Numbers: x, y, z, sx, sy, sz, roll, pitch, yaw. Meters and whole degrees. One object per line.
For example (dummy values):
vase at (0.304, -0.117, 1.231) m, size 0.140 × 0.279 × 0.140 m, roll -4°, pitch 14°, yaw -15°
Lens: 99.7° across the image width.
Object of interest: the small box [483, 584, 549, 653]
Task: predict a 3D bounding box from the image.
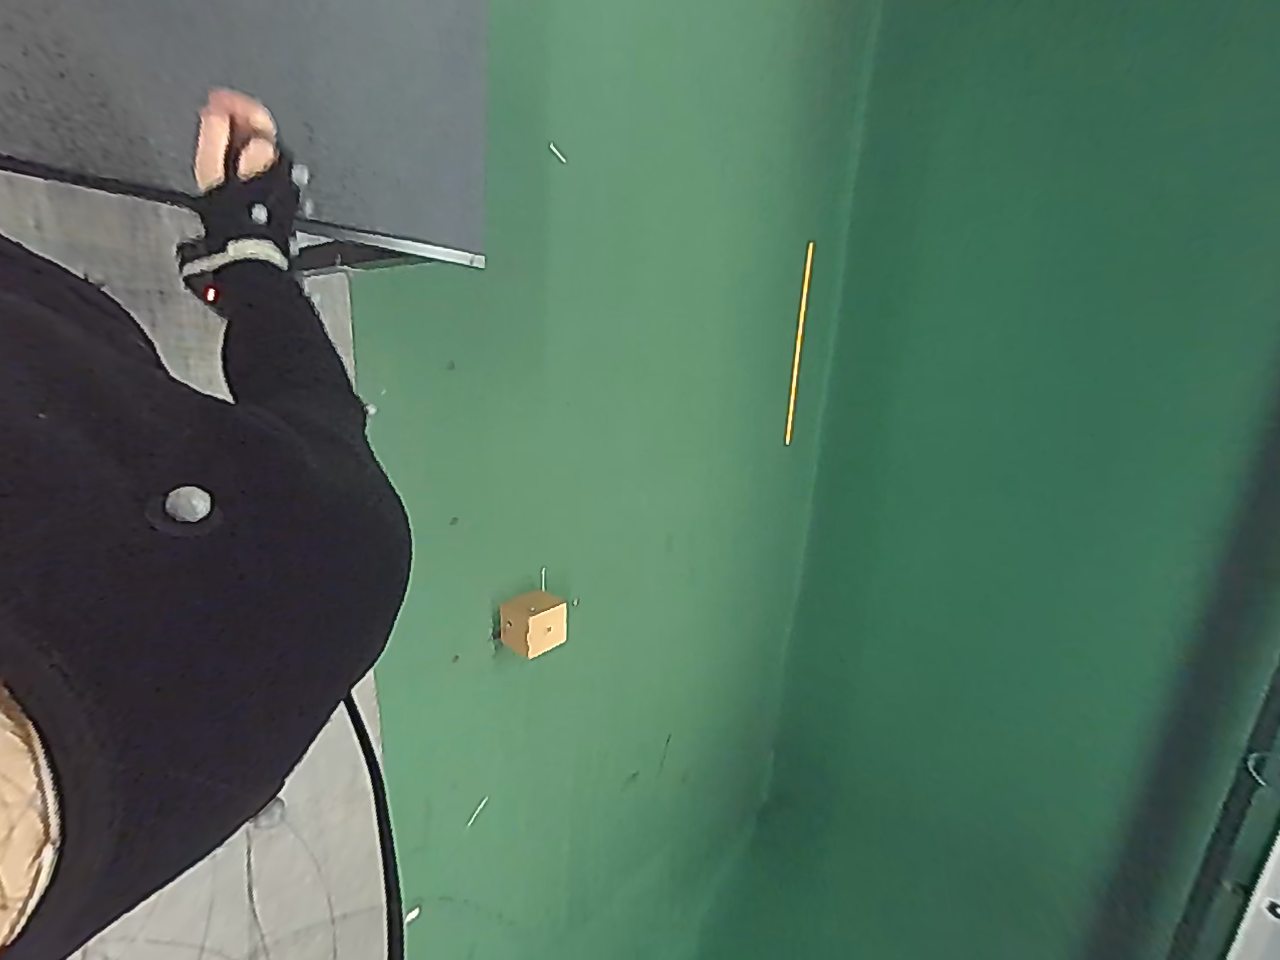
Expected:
small box at (-0.460, 0.503, 2.001) m, size 0.179 × 0.176 × 0.168 m, roll -14°, pitch 113°, yaw -49°
